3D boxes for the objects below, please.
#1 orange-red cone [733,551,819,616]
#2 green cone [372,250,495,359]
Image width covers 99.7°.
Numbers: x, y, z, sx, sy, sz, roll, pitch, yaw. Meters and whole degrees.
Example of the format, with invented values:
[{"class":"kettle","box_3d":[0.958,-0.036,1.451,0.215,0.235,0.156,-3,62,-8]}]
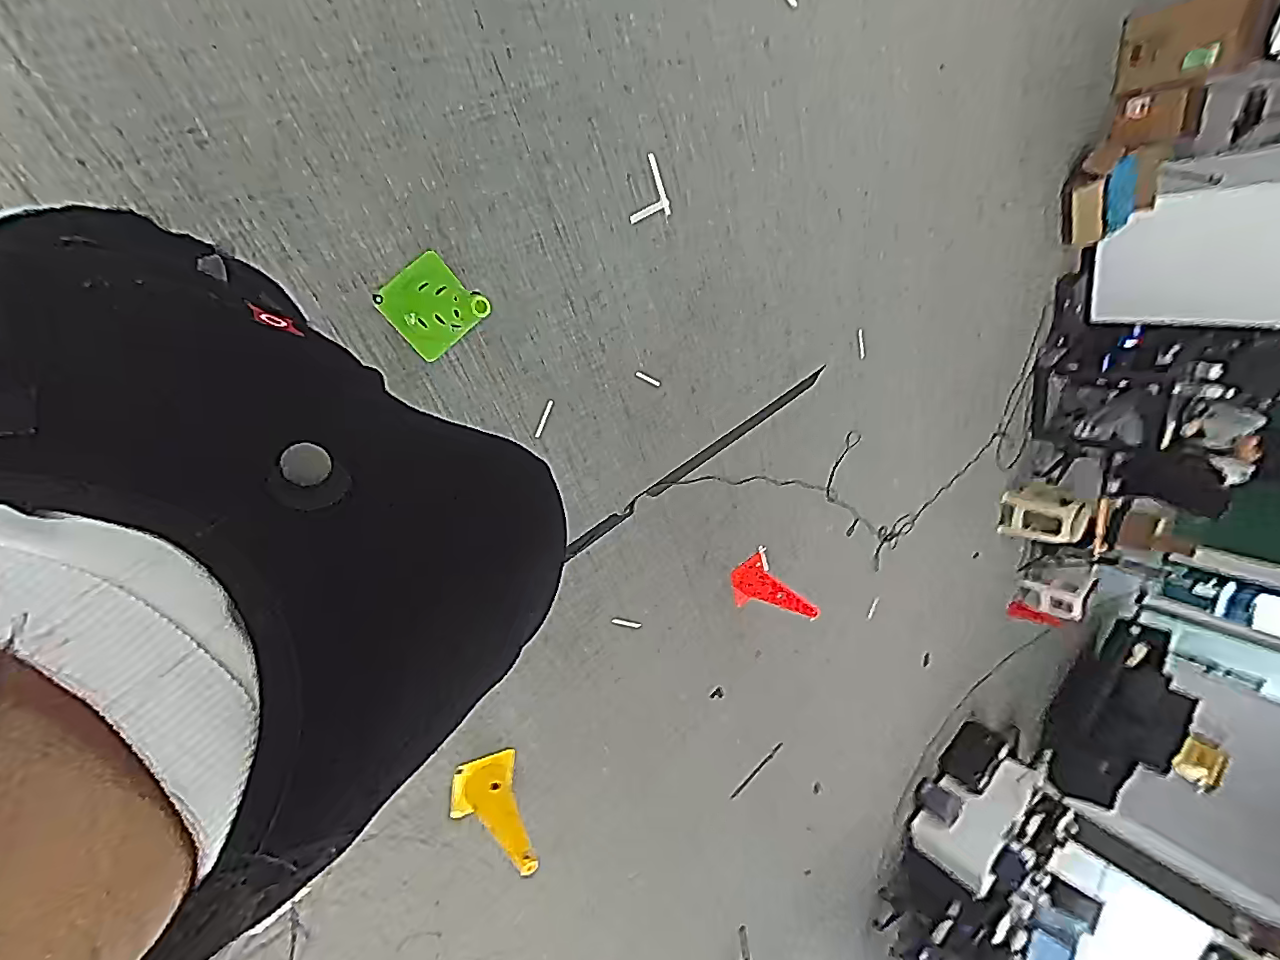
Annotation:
[{"class":"orange-red cone","box_3d":[0.586,0.473,2.251,0.199,0.360,0.198,-28,119,-27]},{"class":"green cone","box_3d":[-0.414,-0.388,1.199,0.202,0.368,0.200,-50,128,-16]}]
